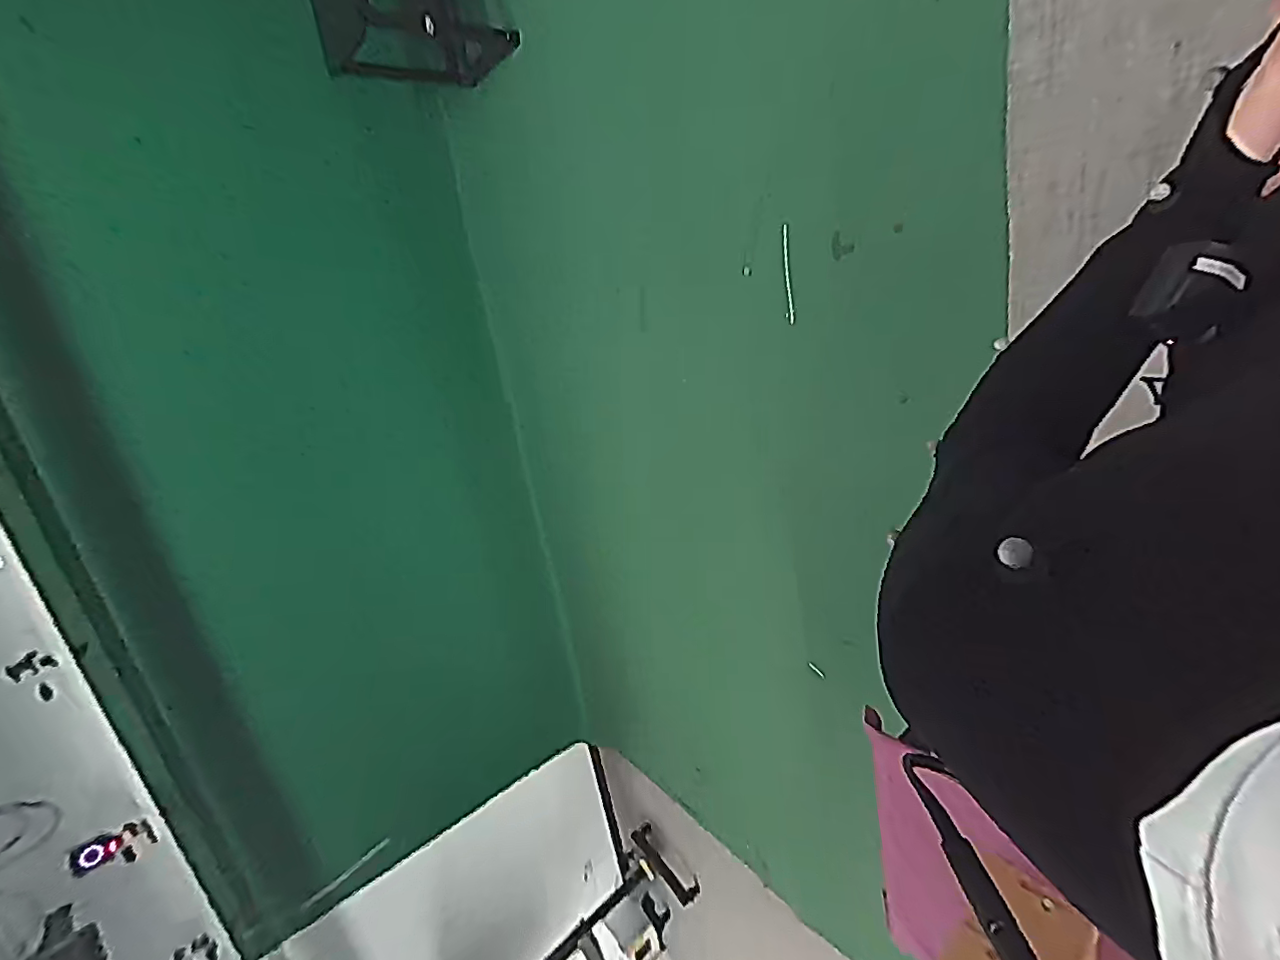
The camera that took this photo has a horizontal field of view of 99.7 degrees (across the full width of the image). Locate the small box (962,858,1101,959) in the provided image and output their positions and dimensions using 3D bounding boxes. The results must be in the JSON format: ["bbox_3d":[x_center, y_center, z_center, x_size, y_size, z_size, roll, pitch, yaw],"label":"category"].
[{"bbox_3d":[0.704,0.850,0.976,0.168,0.176,0.179,11,117,50],"label":"small box"}]

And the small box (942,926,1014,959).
[{"bbox_3d":[0.578,0.899,0.883,0.168,0.176,0.179,10,118,50],"label":"small box"}]
